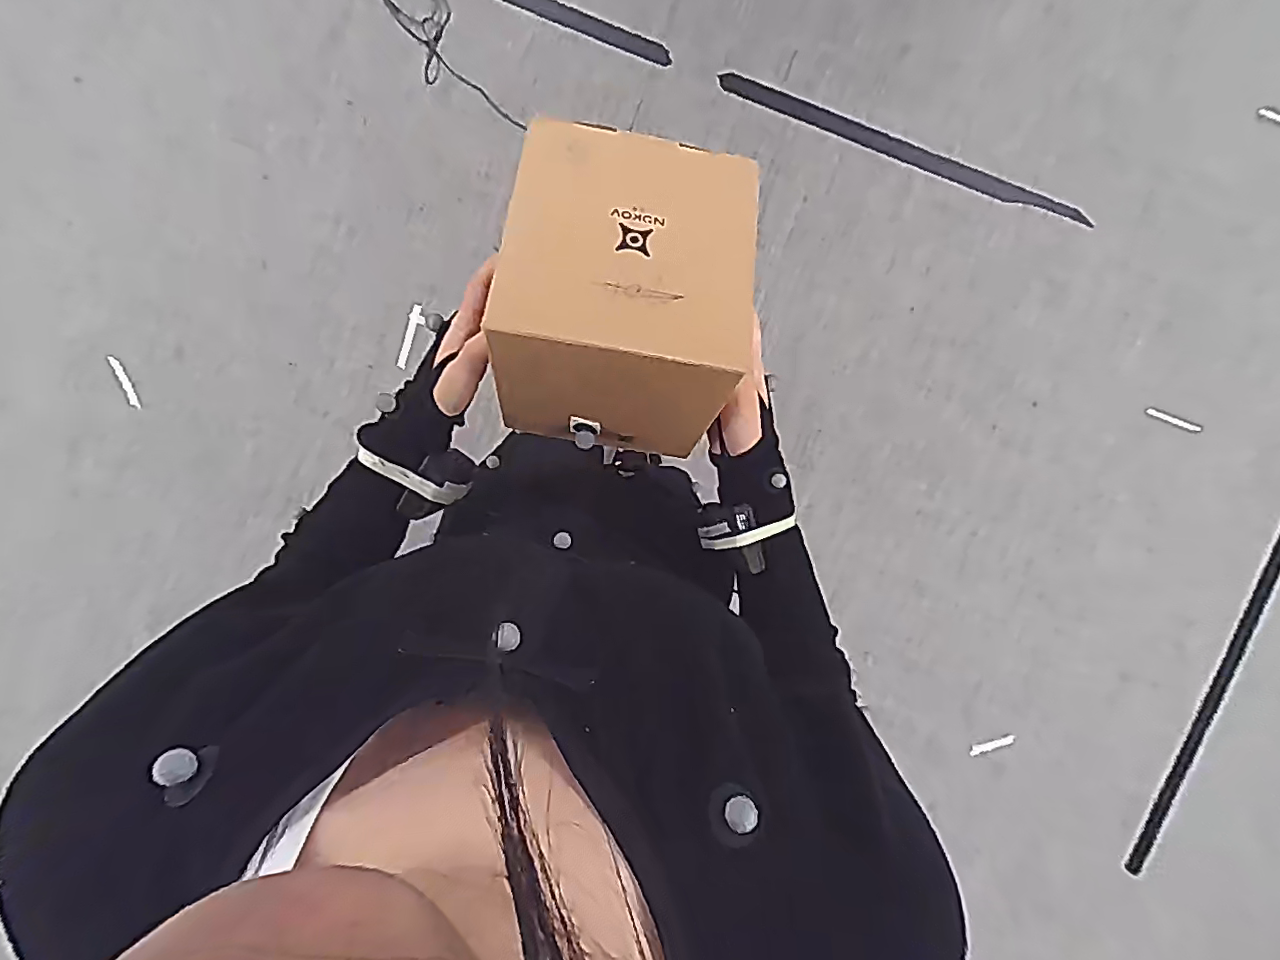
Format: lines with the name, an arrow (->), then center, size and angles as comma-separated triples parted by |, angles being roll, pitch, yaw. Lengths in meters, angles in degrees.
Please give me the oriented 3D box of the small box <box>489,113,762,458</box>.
small box -> -0.013, -0.135, 0.428 | 0.168, 0.176, 0.179 | 8, 72, -6
